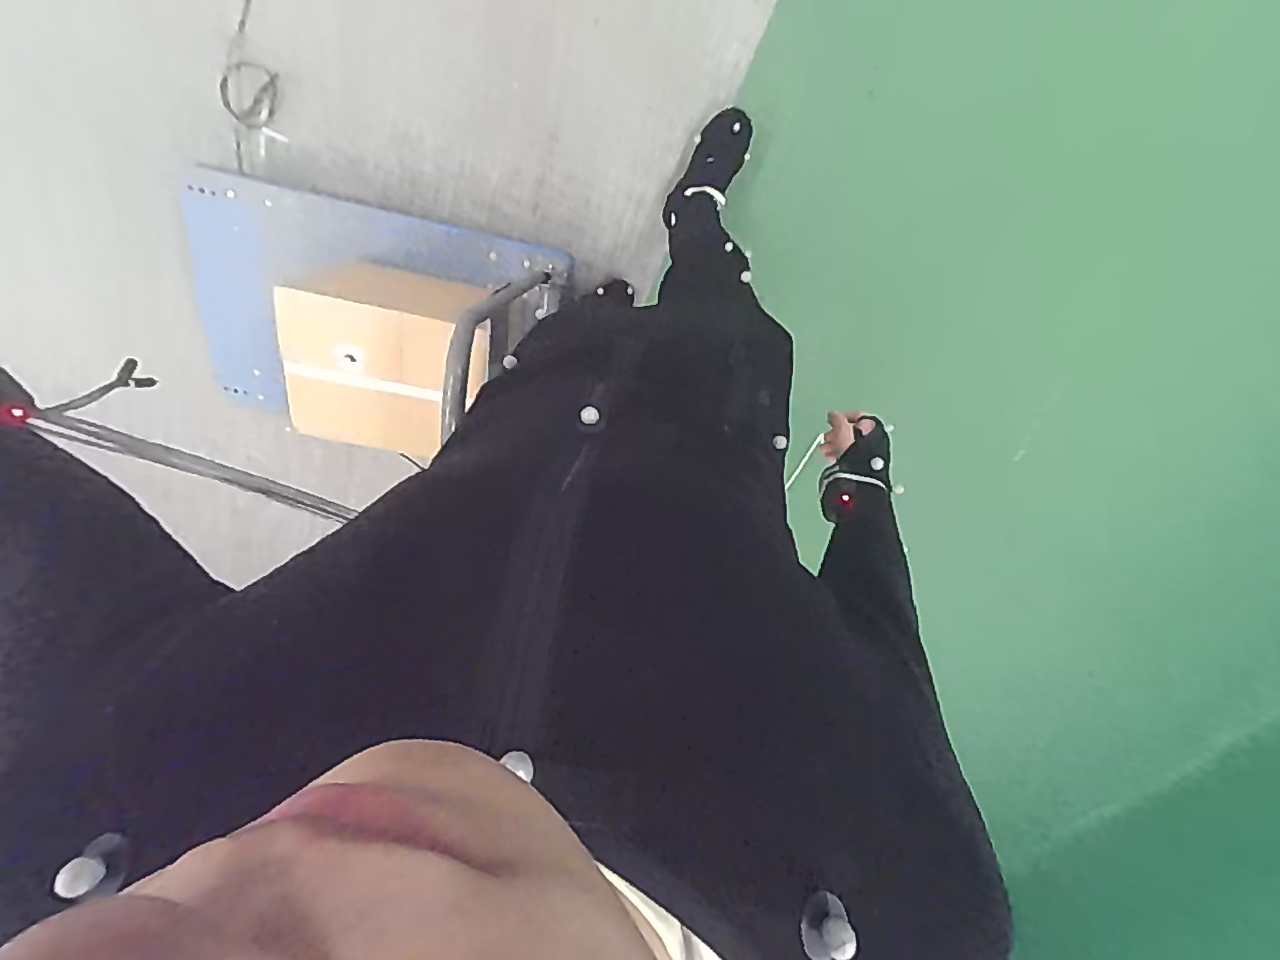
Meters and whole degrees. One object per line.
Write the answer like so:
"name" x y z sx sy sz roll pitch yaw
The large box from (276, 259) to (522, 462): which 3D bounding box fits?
"large box" -0.504 -0.276 1.218 0.408 0.320 0.320 11 120 -4
